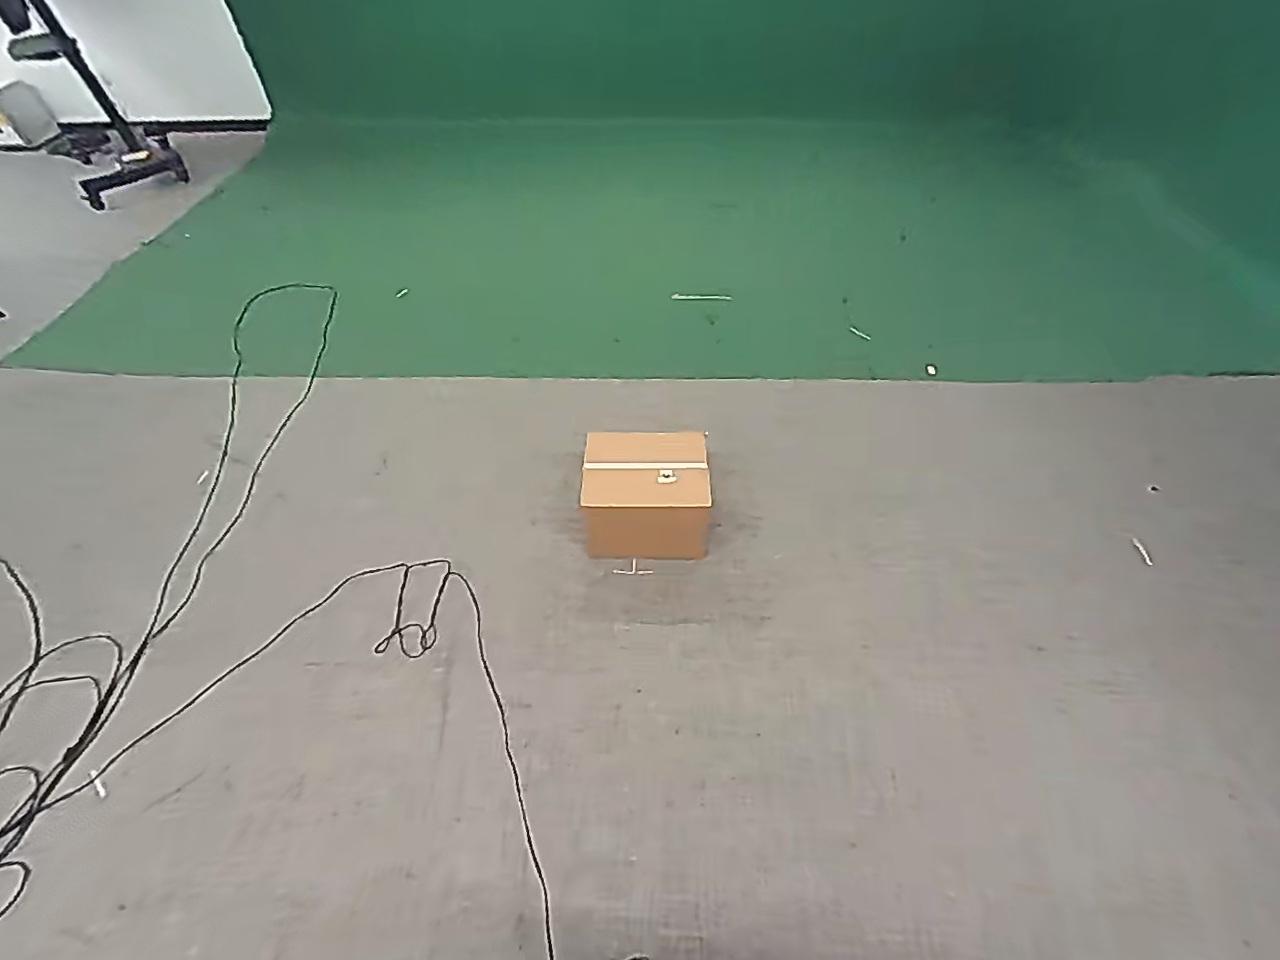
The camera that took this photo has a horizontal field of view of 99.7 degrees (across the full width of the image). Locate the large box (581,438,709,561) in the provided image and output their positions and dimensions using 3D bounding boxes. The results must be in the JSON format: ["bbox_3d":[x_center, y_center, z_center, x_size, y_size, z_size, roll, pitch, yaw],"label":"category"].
[{"bbox_3d":[0.011,0.071,1.872,0.408,0.320,0.320,0,51,0],"label":"large box"}]
